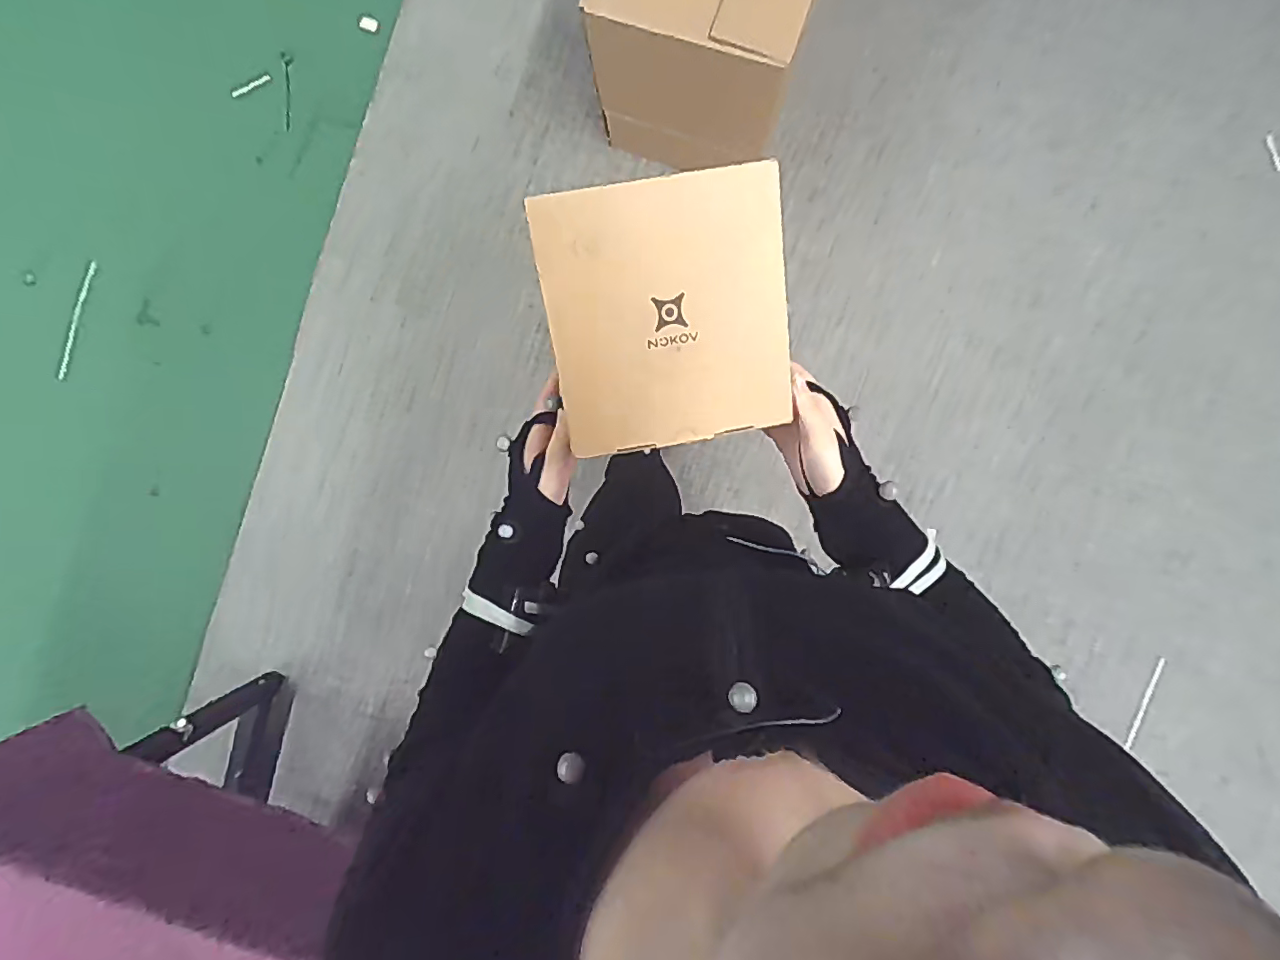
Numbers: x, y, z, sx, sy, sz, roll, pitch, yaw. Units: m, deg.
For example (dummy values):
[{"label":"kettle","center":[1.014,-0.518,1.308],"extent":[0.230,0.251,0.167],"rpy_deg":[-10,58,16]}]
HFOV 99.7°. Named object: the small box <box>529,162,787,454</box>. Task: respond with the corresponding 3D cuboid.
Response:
[{"label":"small box","center":[0.009,-0.138,0.447],"extent":[0.168,0.176,0.179],"rpy_deg":[-10,111,-3]}]
